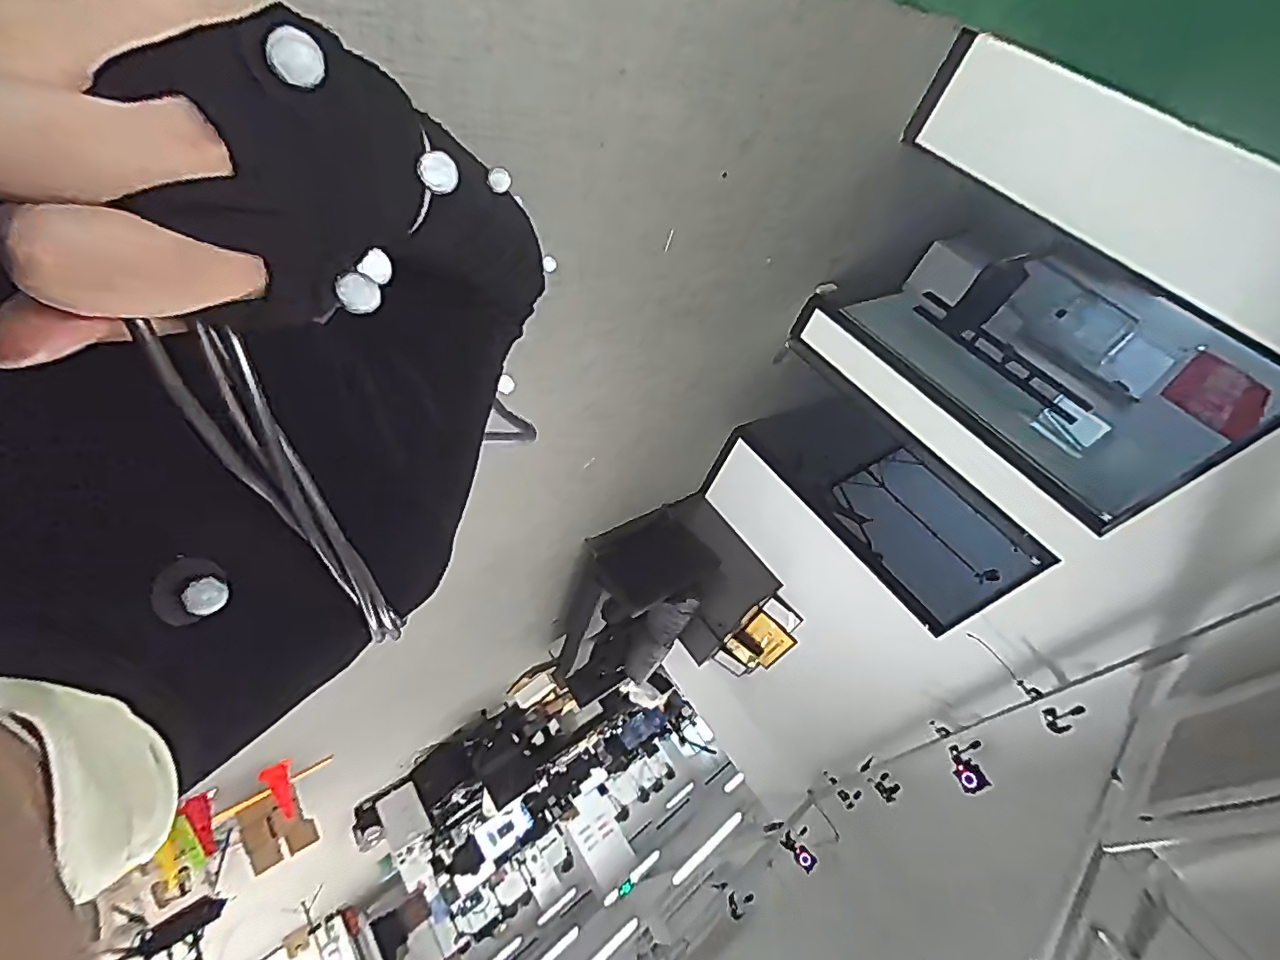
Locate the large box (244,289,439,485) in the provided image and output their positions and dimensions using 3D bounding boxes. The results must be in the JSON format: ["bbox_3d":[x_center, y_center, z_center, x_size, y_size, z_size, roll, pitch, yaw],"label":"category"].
[{"bbox_3d":[-0.818,-0.241,1.470,0.320,0.320,0.408,-5,140,-53],"label":"large box"}]
